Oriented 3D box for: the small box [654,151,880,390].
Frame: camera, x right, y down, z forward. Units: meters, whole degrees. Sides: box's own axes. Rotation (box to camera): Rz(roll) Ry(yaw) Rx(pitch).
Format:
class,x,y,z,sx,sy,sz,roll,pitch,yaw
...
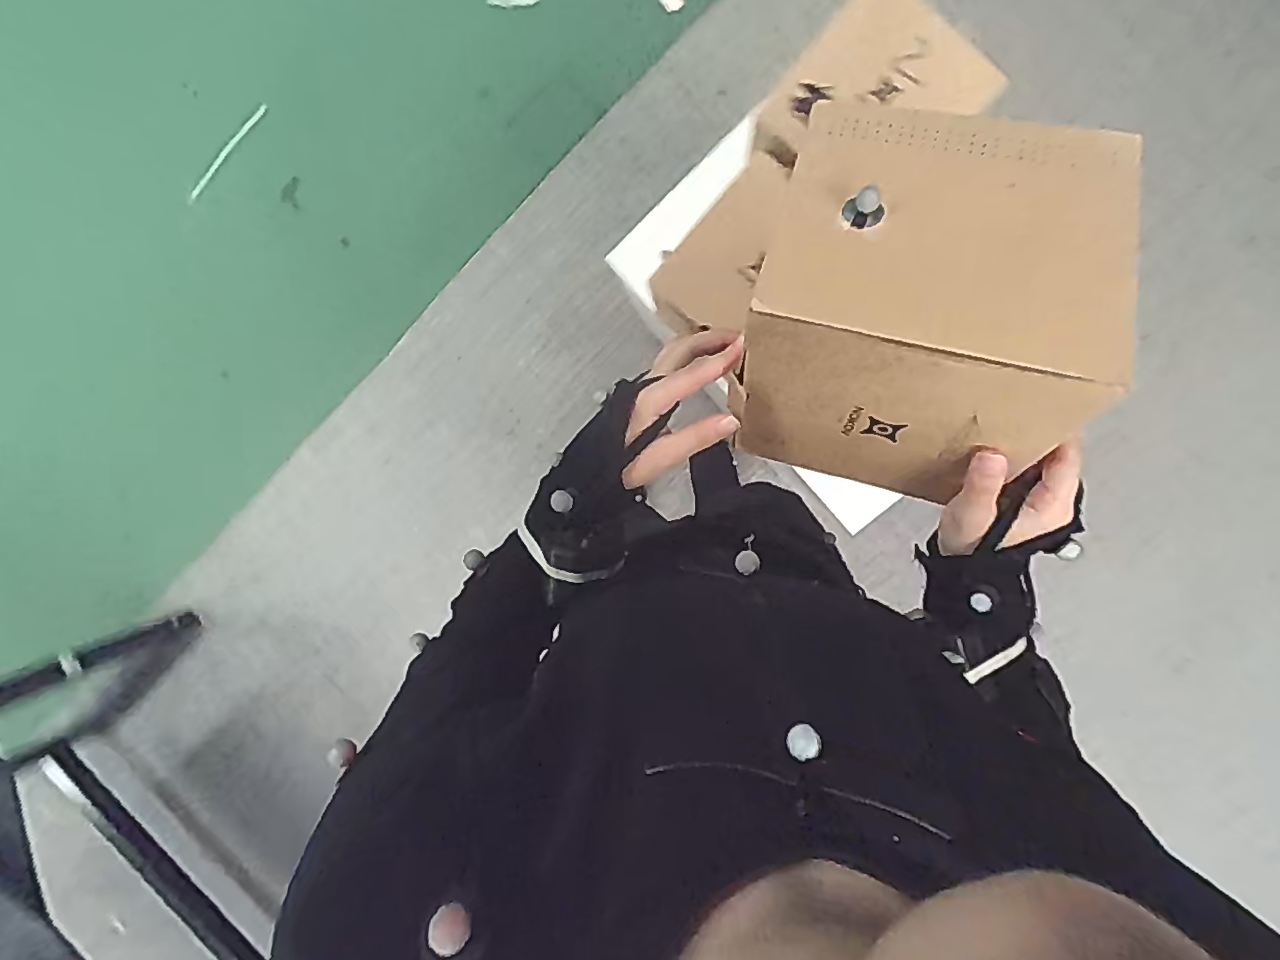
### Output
class,x,y,z,sx,sy,sz,roll,pitch,yaw
small box,0.134,-0.225,0.633,0.168,0.176,0.179,43,99,0
